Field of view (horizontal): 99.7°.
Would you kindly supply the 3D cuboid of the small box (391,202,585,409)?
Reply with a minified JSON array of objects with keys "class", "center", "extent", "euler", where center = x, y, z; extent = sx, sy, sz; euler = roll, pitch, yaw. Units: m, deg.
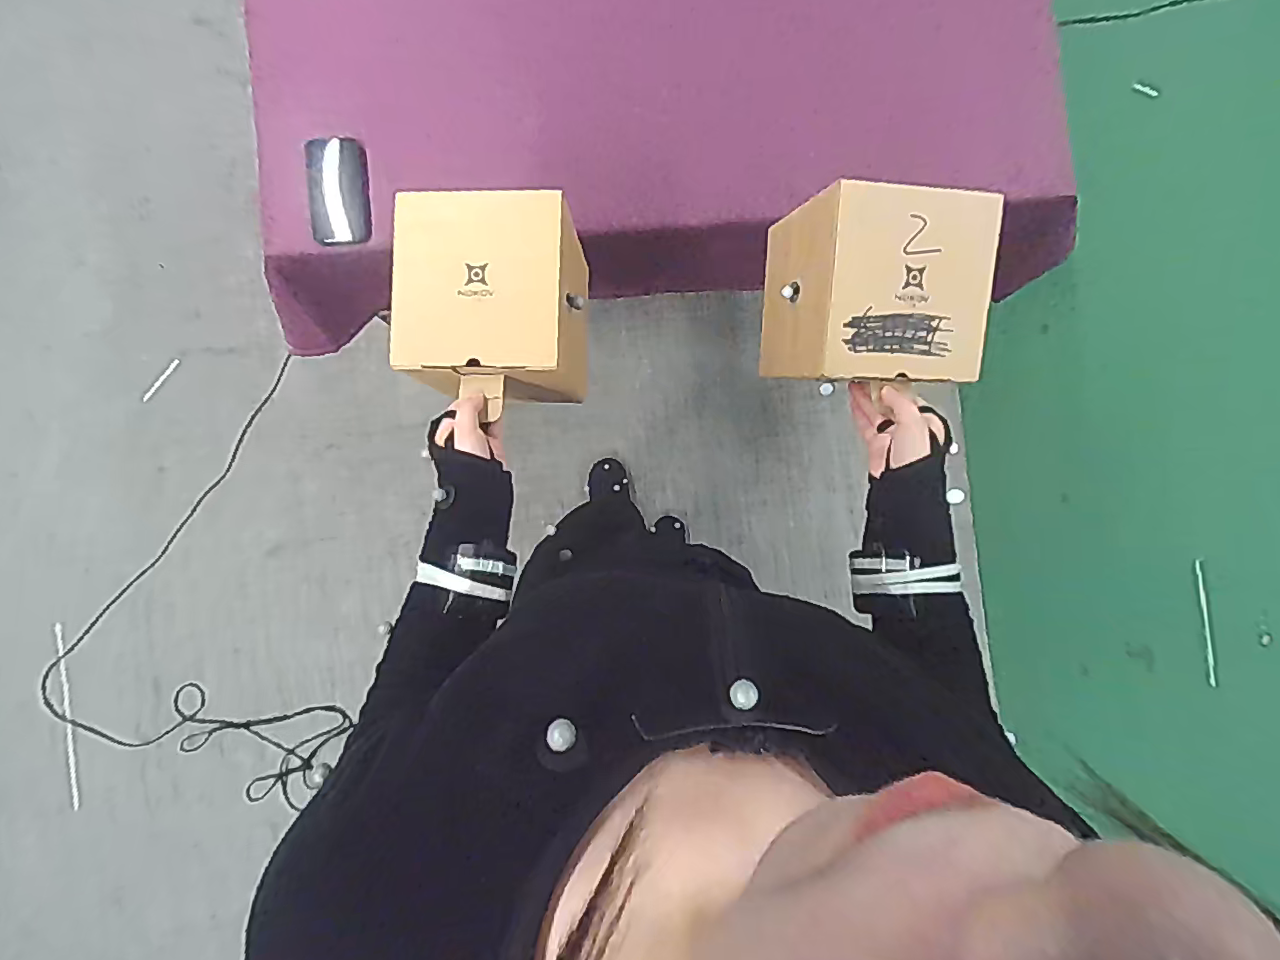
[{"class":"small box","center":[-0.157,-0.183,0.608],"extent":[0.168,0.176,0.179],"euler":[1,88,3]}]
